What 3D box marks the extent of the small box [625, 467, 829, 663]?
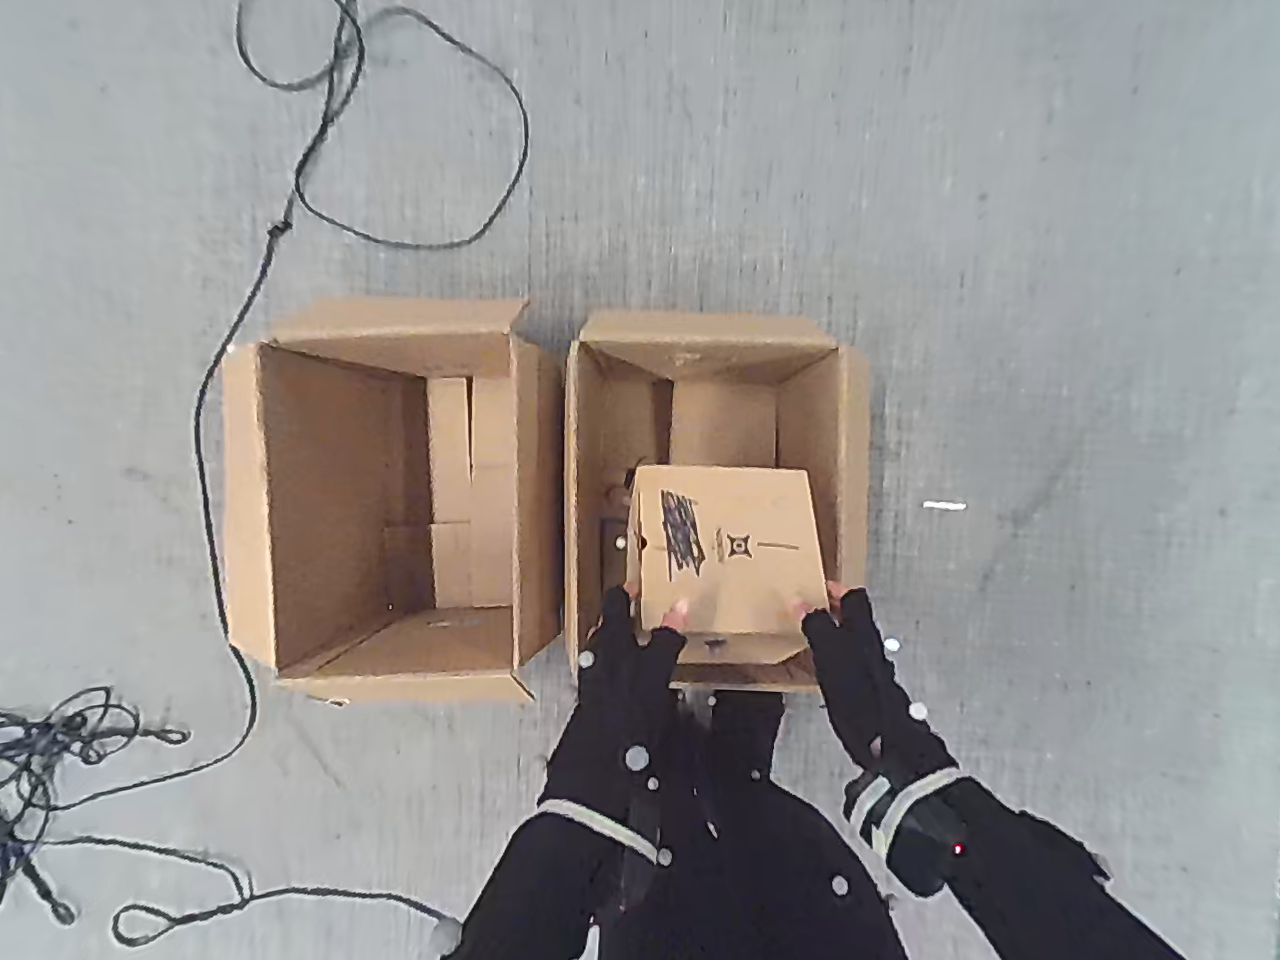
[{"bbox_3d":[0.074,0.098,0.576,0.179,0.176,0.168,2,63,-5],"label":"small box"}]
